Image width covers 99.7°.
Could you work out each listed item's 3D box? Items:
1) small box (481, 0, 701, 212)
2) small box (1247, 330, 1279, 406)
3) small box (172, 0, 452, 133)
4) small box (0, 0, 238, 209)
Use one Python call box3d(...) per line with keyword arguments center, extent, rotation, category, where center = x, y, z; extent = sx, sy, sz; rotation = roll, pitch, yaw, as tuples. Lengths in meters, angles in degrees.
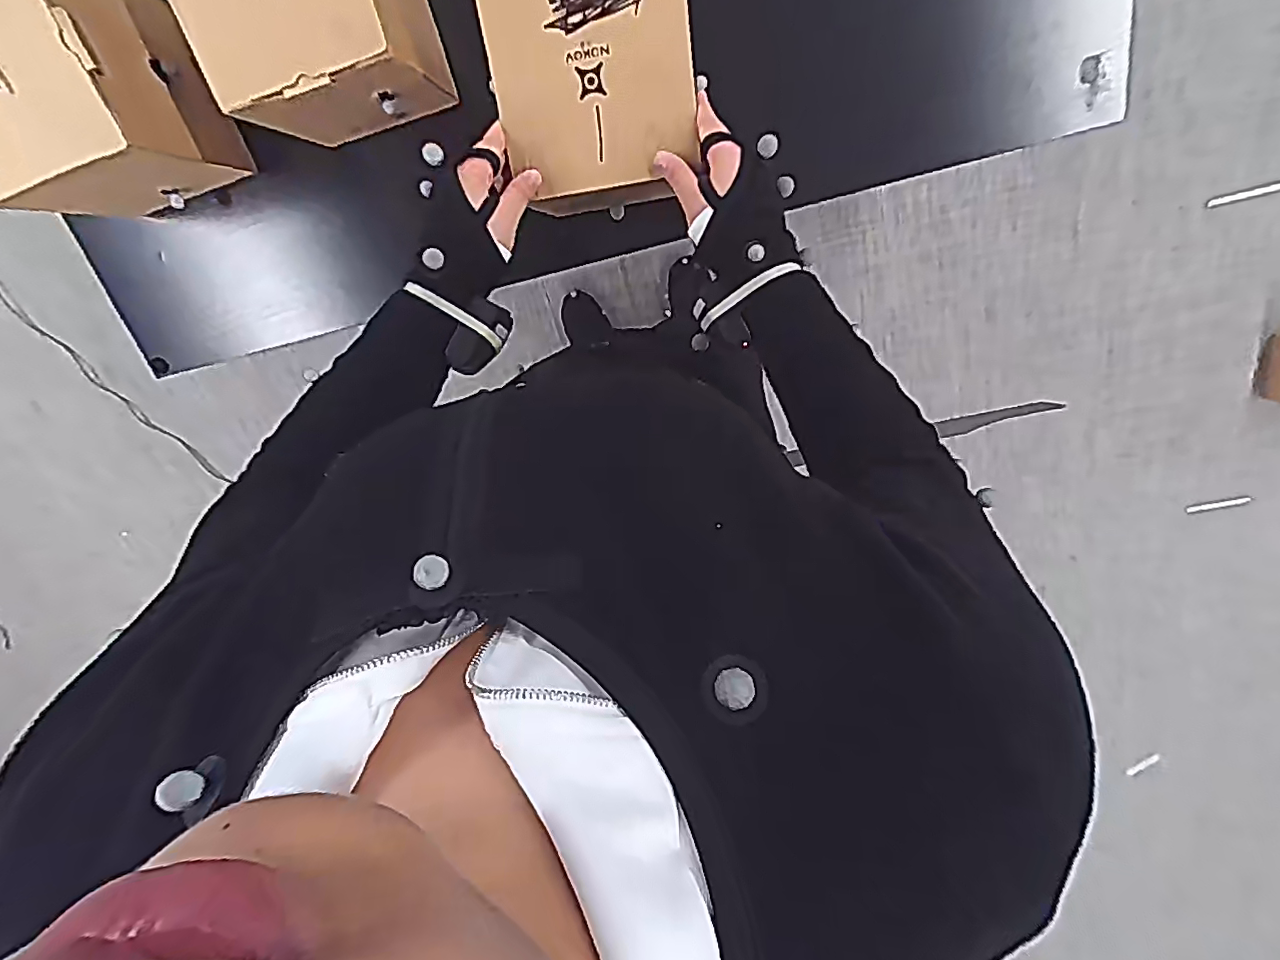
box3d(center=(-0.035, -0.366, 0.512), extent=(0.168, 0.176, 0.179), rotation=(-6, 113, 6), category="small box")
box3d(center=(1.611, -0.269, 1.277), extent=(0.168, 0.176, 0.179), rotation=(-11, 113, 8), category="small box")
box3d(center=(-0.301, -0.447, 0.502), extent=(0.168, 0.176, 0.179), rotation=(-13, 111, 7), category="small box")
box3d(center=(-0.554, -0.385, 0.538), extent=(0.179, 0.176, 0.168), rotation=(-14, 111, 7), category="small box")
